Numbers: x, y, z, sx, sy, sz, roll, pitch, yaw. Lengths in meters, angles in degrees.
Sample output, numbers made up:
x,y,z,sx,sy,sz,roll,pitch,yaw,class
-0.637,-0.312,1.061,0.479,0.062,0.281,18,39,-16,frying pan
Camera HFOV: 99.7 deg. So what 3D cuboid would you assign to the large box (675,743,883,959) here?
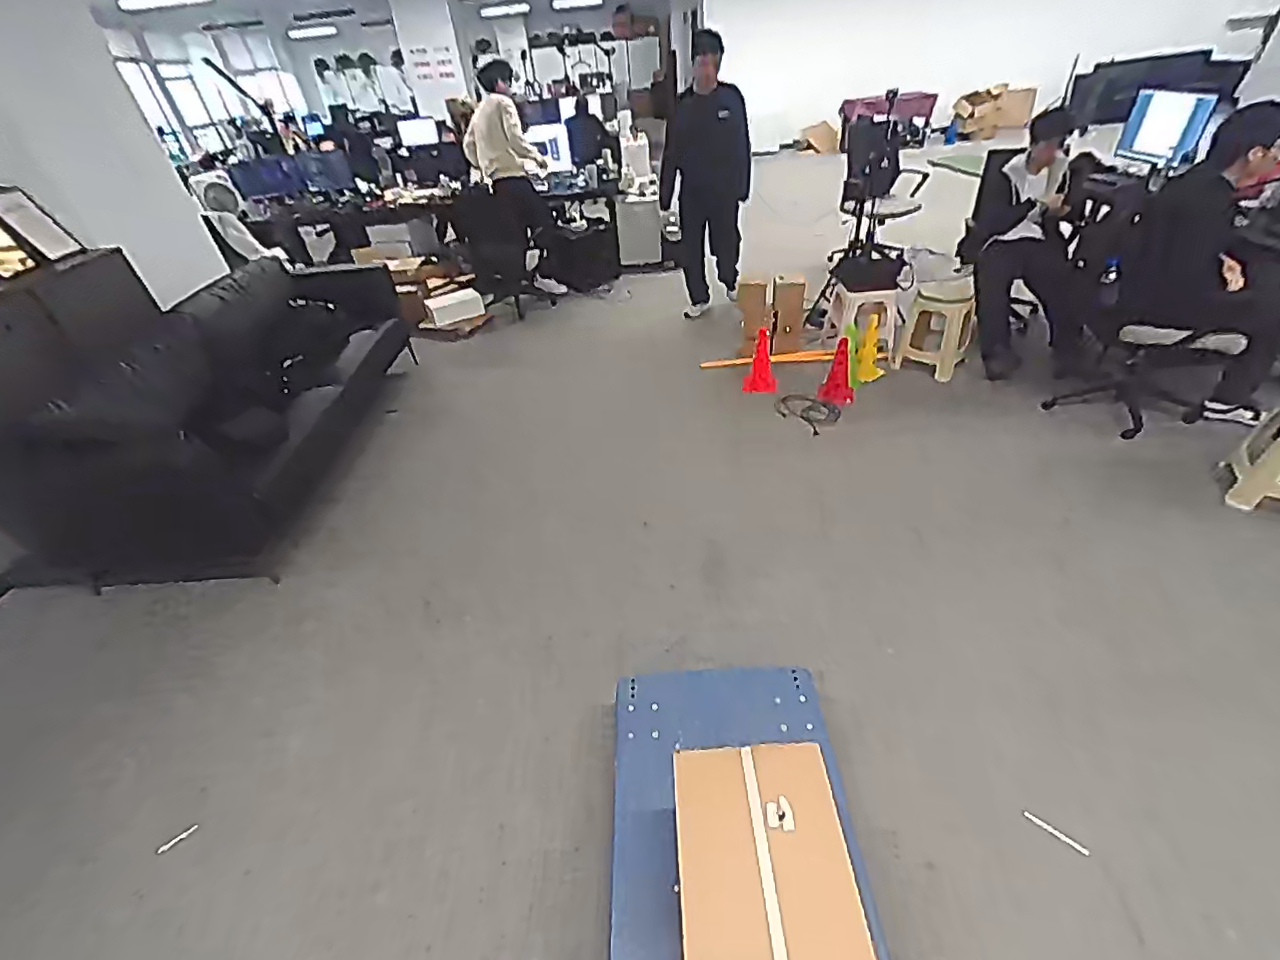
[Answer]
x,y,z,sx,sy,sz,roll,pitch,yaw,class
0.247,0.807,1.076,0.320,0.320,0.408,-4,37,2,large box
